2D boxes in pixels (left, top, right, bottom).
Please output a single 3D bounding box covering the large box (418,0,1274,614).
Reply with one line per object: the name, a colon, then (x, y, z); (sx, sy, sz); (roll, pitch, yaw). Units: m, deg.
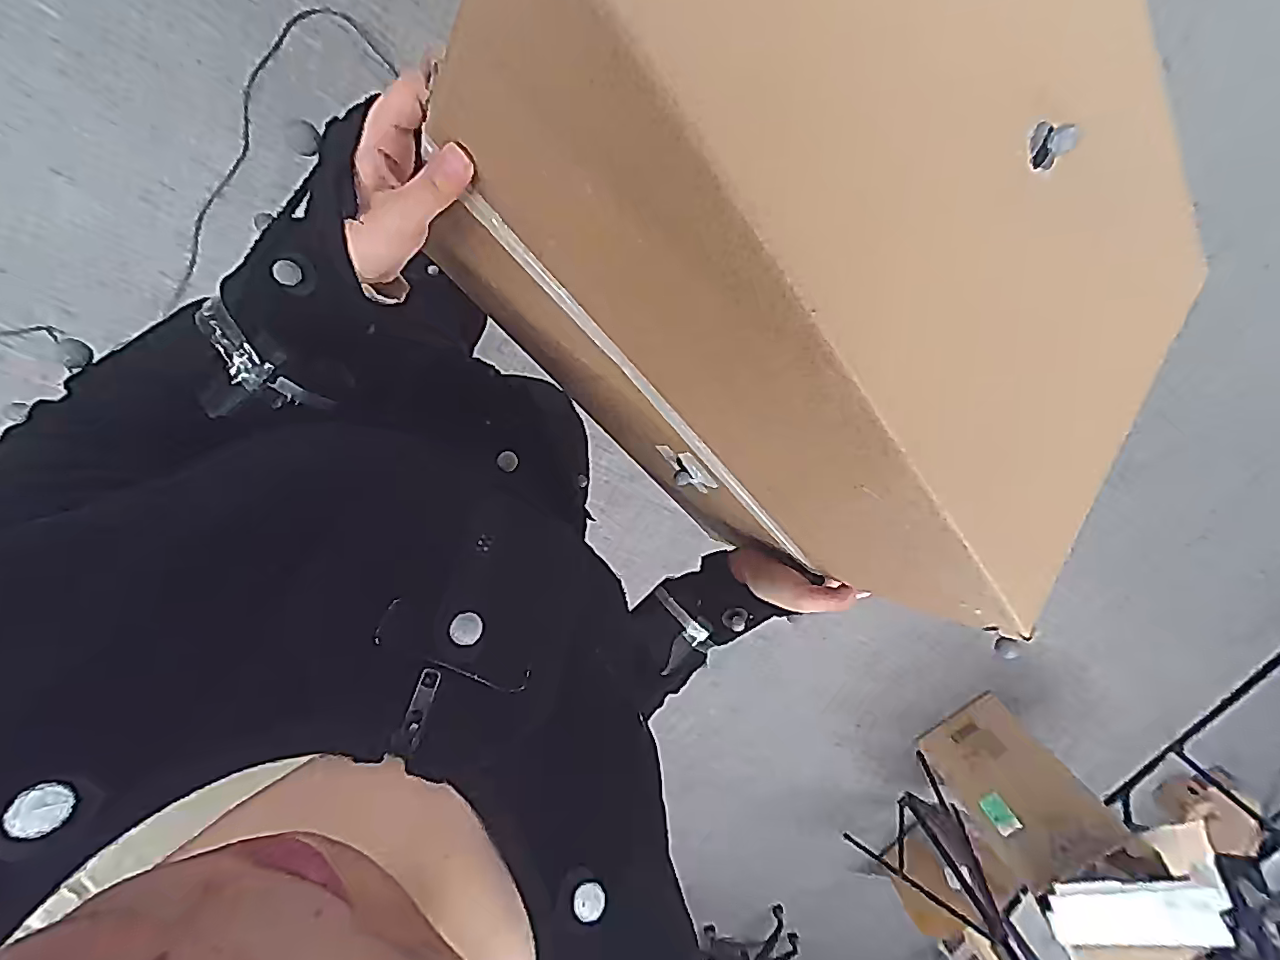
large box: (0.130, -0.182, 0.366); (0.408, 0.320, 0.320); (43, 76, -25)
